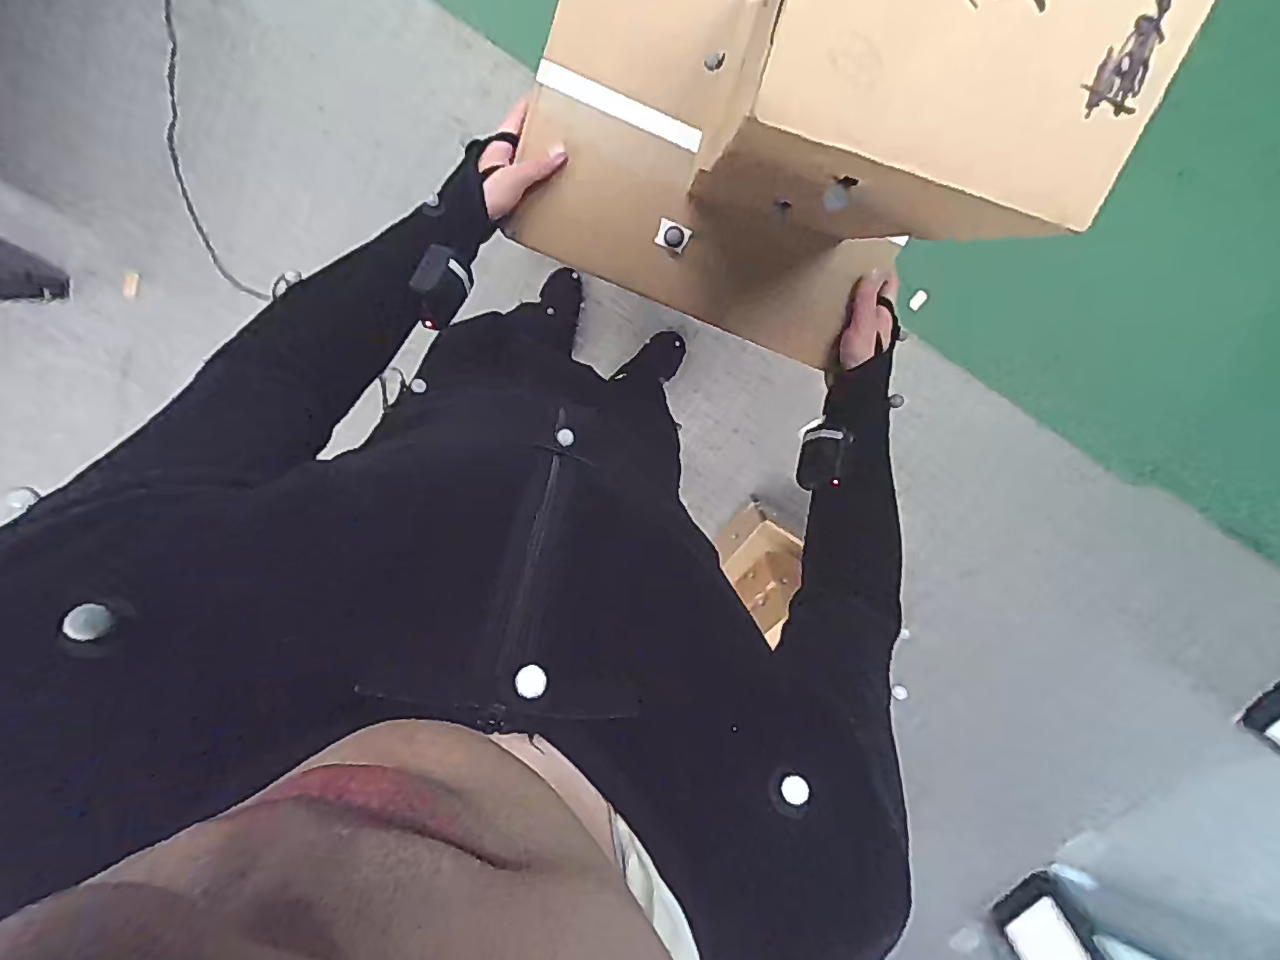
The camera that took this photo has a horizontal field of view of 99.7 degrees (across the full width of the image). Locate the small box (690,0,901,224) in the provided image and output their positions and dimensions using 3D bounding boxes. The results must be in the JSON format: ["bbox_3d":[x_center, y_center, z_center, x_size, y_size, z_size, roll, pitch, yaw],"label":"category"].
[{"bbox_3d":[0.146,-0.319,0.444,0.179,0.176,0.168,14,113,-5],"label":"small box"}]

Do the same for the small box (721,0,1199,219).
[{"bbox_3d":[0.153,-0.252,0.294,0.179,0.176,0.168,15,113,-4],"label":"small box"}]

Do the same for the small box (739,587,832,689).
[{"bbox_3d":[0.395,0.430,1.496,0.179,0.176,0.168,40,109,-10],"label":"small box"}]

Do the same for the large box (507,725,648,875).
[{"bbox_3d":[-0.204,1.138,1.932,0.408,0.320,0.320,-14,109,6],"label":"large box"}]
